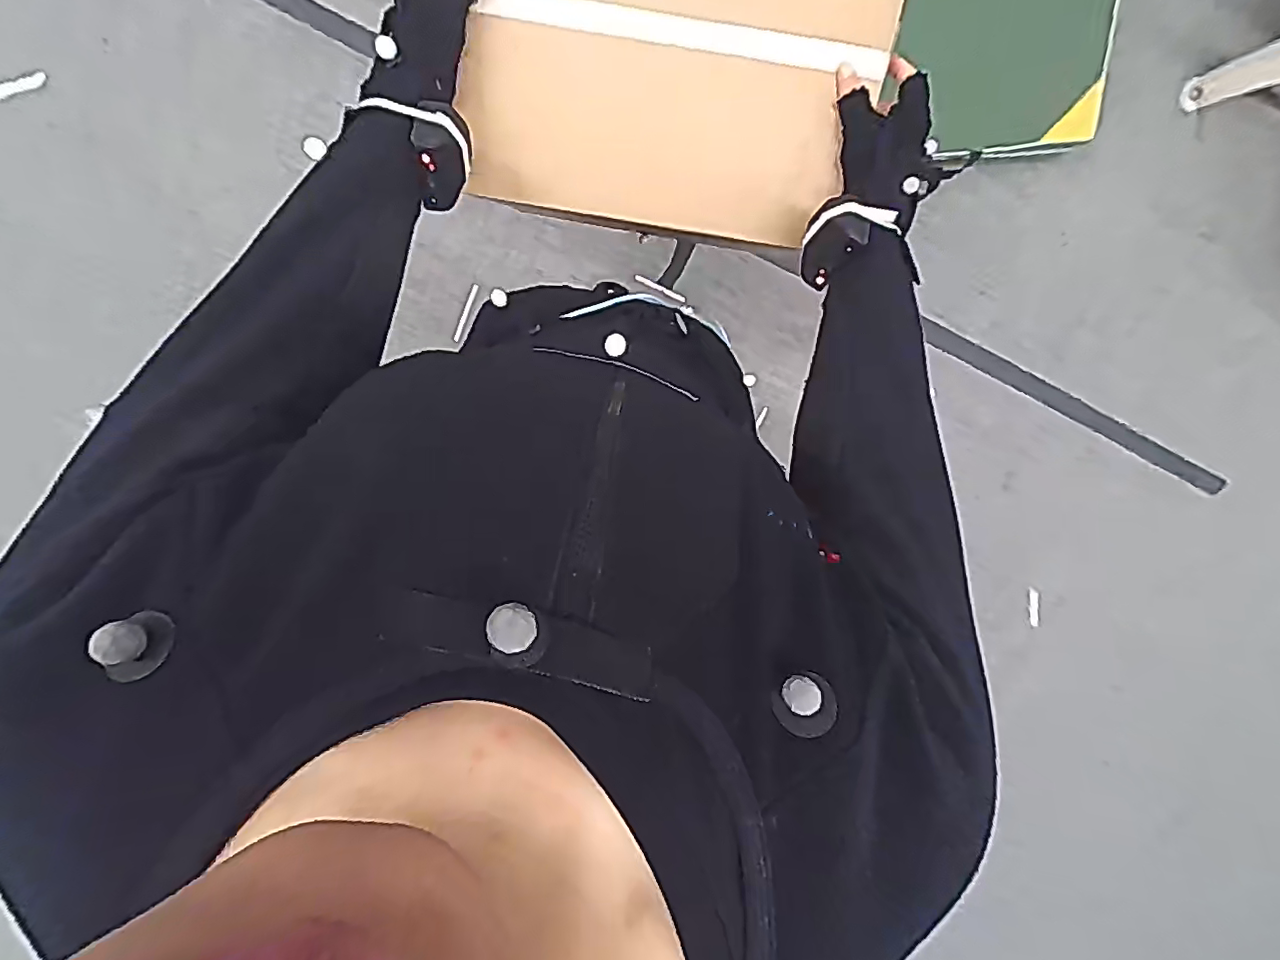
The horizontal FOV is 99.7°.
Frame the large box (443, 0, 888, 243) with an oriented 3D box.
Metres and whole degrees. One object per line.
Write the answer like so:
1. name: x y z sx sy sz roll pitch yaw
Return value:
1. large box: 0.028 -0.469 0.630 0.408 0.320 0.320 9 112 0
